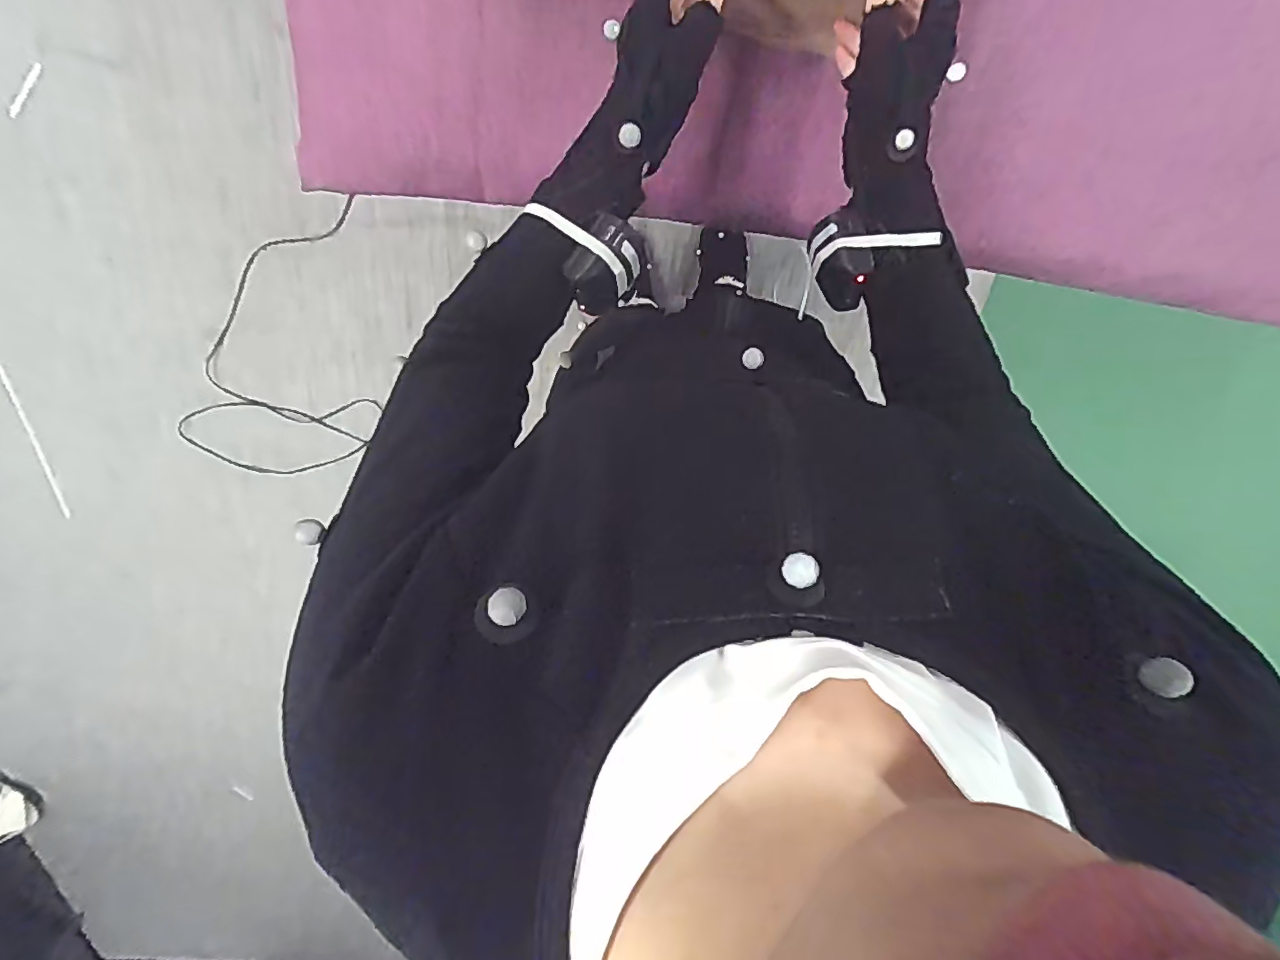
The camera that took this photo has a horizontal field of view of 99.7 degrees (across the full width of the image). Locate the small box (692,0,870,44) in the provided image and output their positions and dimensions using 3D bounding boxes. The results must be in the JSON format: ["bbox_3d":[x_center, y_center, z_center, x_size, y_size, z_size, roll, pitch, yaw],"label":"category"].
[{"bbox_3d":[0.130,-0.486,0.428,0.168,0.176,0.179,11,115,-6],"label":"small box"}]
